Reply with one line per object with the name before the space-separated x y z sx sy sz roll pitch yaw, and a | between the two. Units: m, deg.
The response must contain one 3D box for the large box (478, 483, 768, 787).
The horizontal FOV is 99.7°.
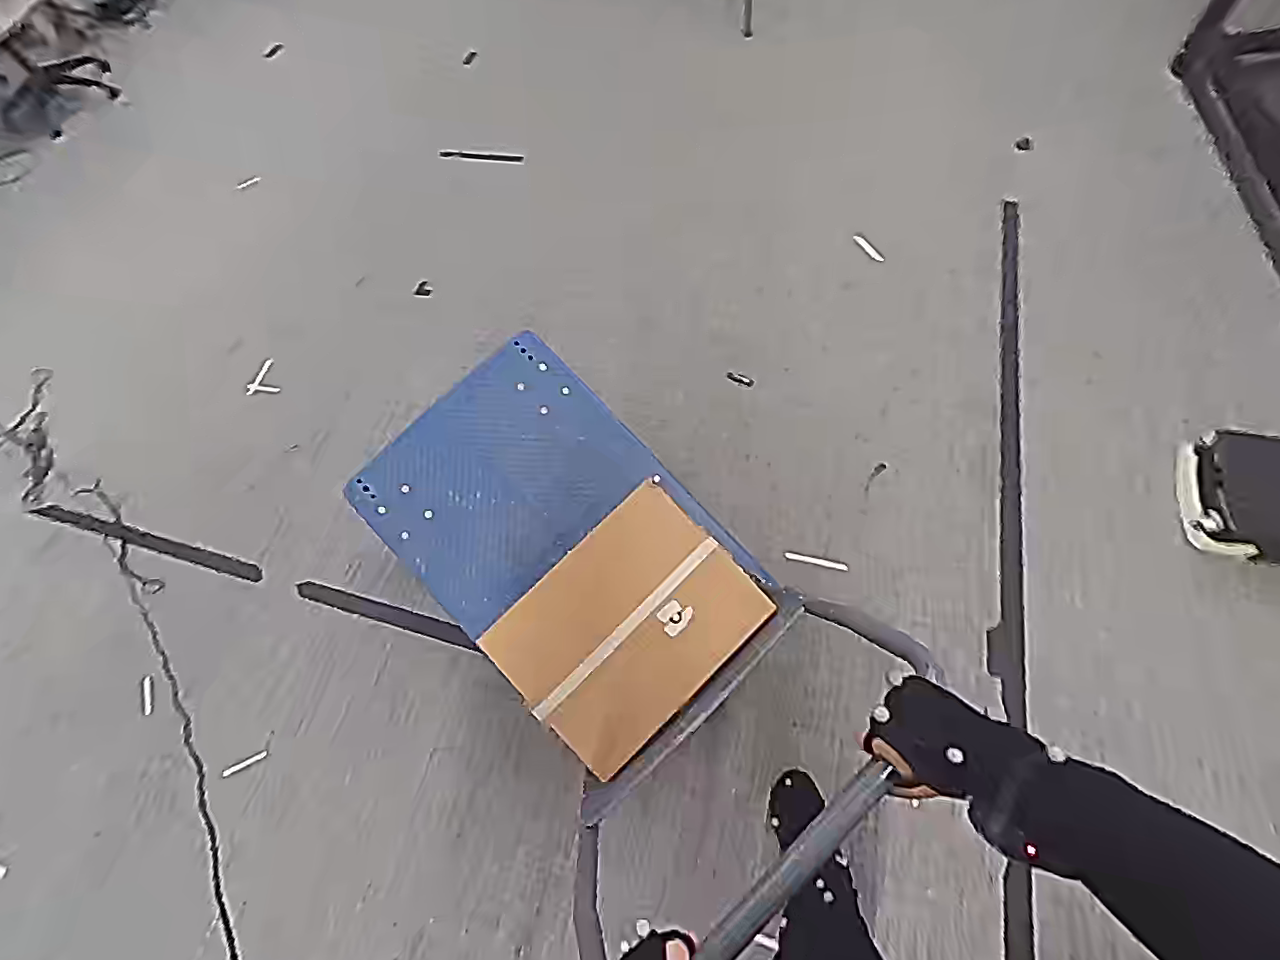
large box | -0.030 0.273 1.044 0.408 0.320 0.320 -44 85 -8
